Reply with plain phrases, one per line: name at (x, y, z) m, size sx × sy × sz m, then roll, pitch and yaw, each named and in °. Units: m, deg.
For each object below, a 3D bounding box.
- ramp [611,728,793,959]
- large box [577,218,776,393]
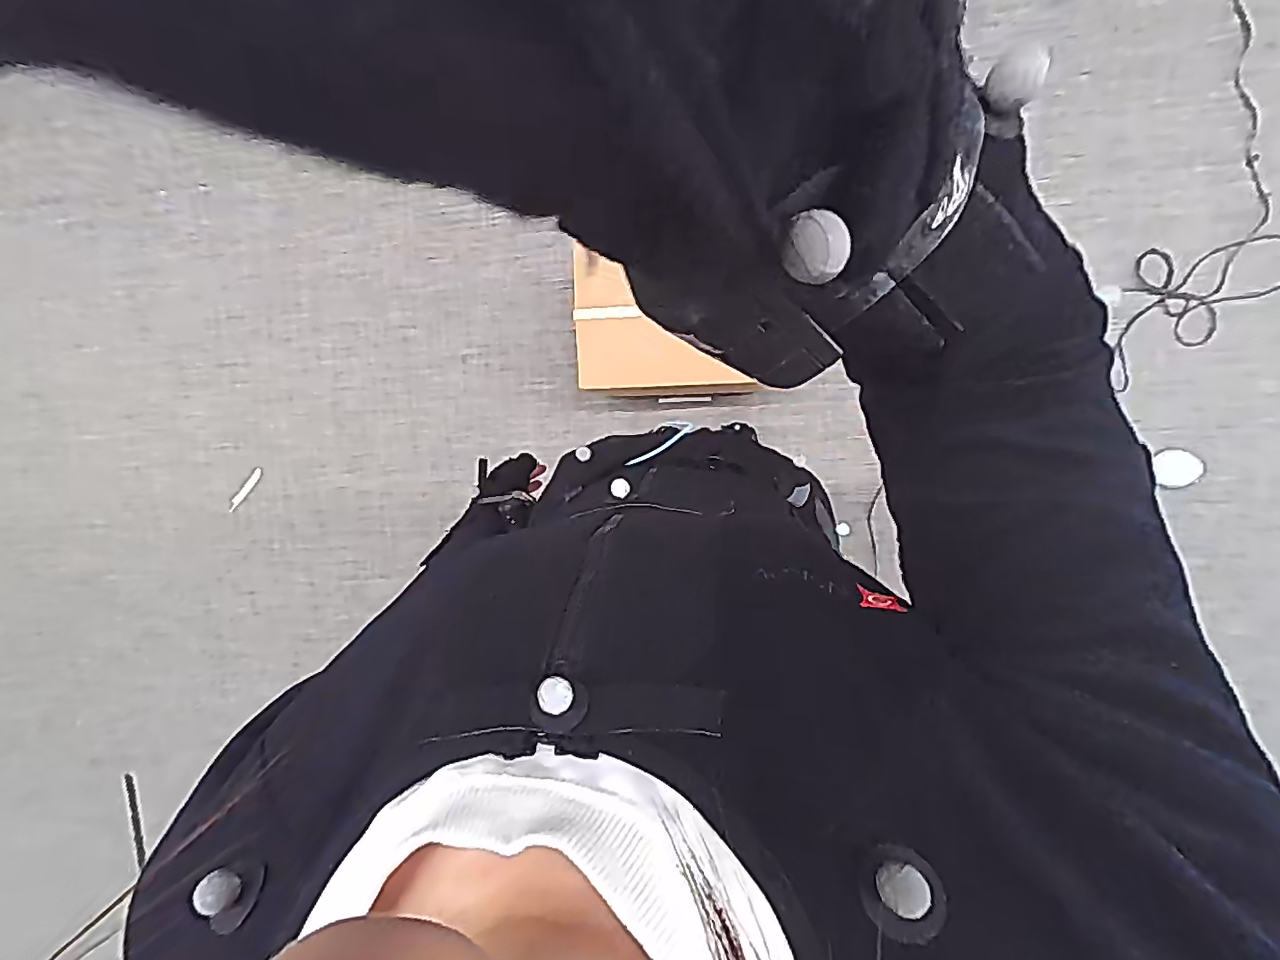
ramp at (0.163, 1.202, 1.464) m, size 0.509 × 0.206 × 0.991 m, roll -1°, pitch 95°, yaw 9°
large box at (0.087, -0.375, 1.254) m, size 0.408 × 0.320 × 0.320 m, roll -1°, pitch 96°, yaw 7°
